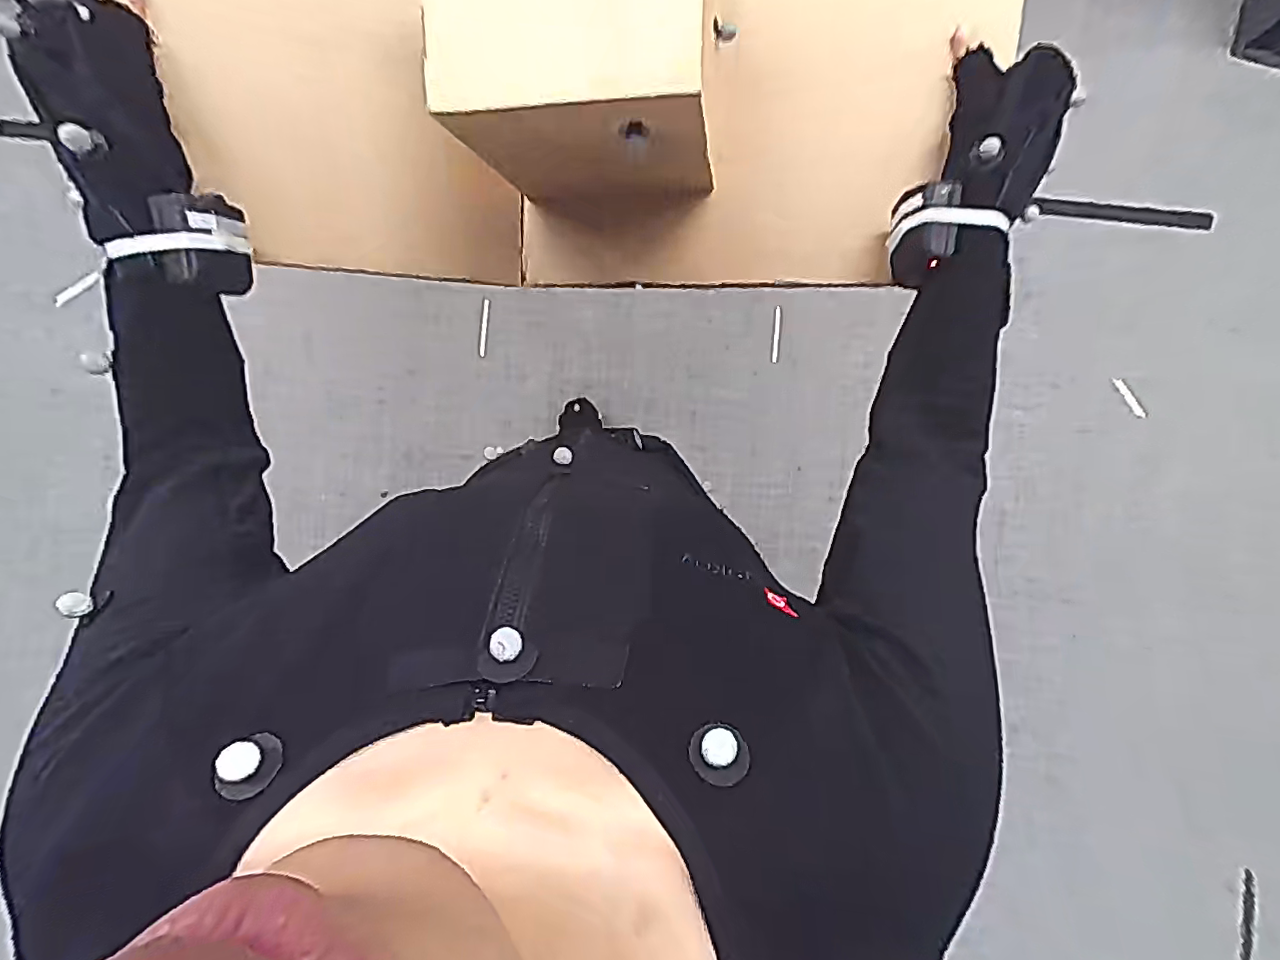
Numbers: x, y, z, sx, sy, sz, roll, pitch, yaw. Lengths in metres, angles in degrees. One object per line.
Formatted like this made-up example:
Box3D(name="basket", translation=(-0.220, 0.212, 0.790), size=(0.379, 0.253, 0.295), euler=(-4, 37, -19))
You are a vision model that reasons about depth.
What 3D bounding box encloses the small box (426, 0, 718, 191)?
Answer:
Box3D(name="small box", translation=(-0.035, -0.330, 0.400), size=(0.179, 0.176, 0.168), euler=(3, 101, 11))
